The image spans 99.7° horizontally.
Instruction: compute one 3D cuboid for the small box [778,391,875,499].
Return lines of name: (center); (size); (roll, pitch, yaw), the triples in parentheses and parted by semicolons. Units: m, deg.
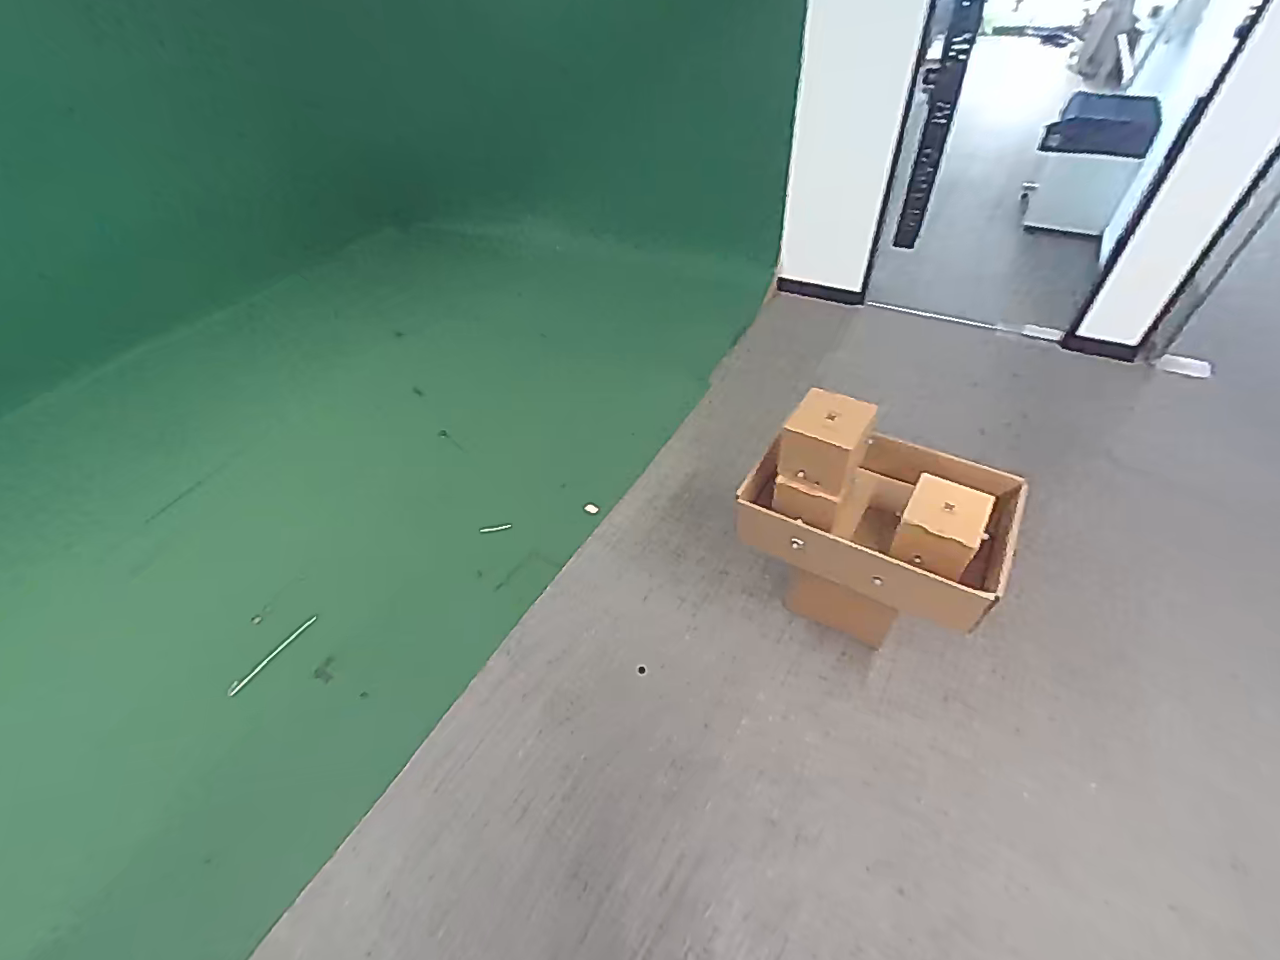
small box: (0.453, -0.086, 1.338); (0.168, 0.176, 0.179); (24, 54, 27)
